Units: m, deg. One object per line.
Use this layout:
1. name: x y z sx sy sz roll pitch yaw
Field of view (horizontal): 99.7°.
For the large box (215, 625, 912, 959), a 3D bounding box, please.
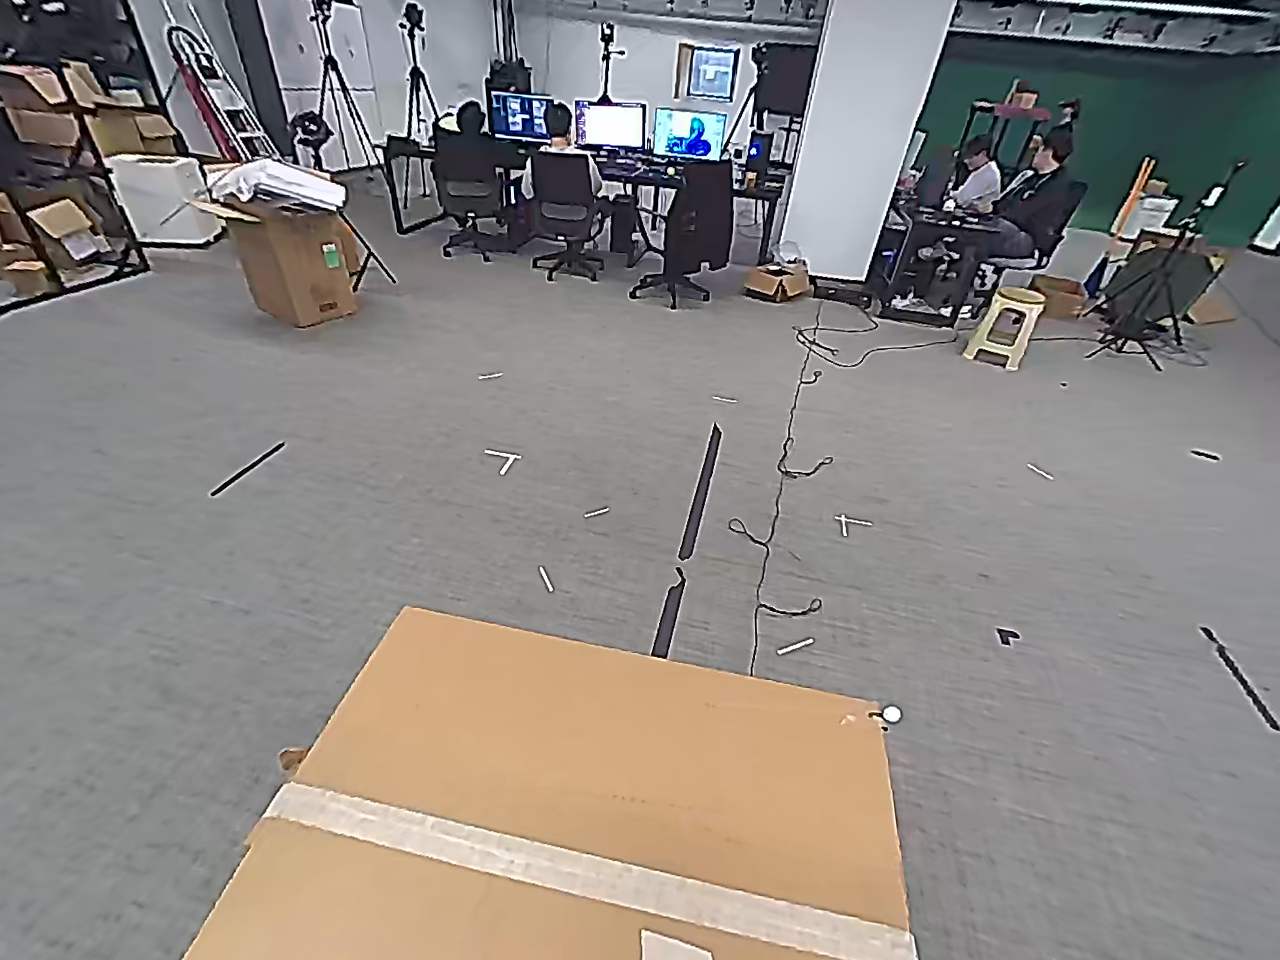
1. large box: -0.042 0.365 0.439 0.408 0.320 0.320 10 43 6
